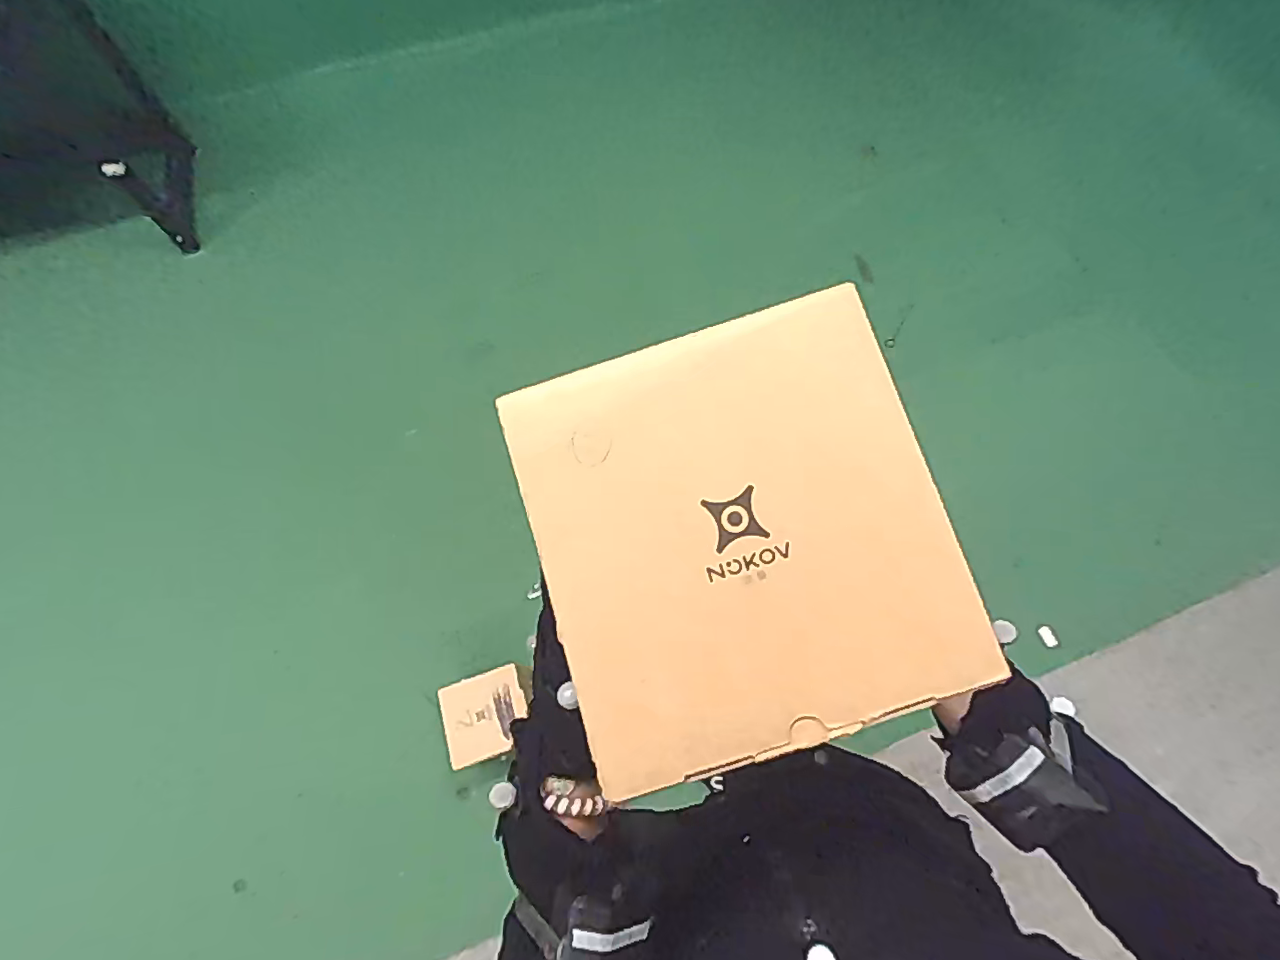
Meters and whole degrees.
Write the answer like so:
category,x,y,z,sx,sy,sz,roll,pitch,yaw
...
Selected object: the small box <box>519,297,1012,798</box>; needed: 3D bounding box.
category,x,y,z,sx,sy,sz,roll,pitch,yaw
small box,0.049,0.034,0.306,0.168,0.176,0.179,-18,82,0
